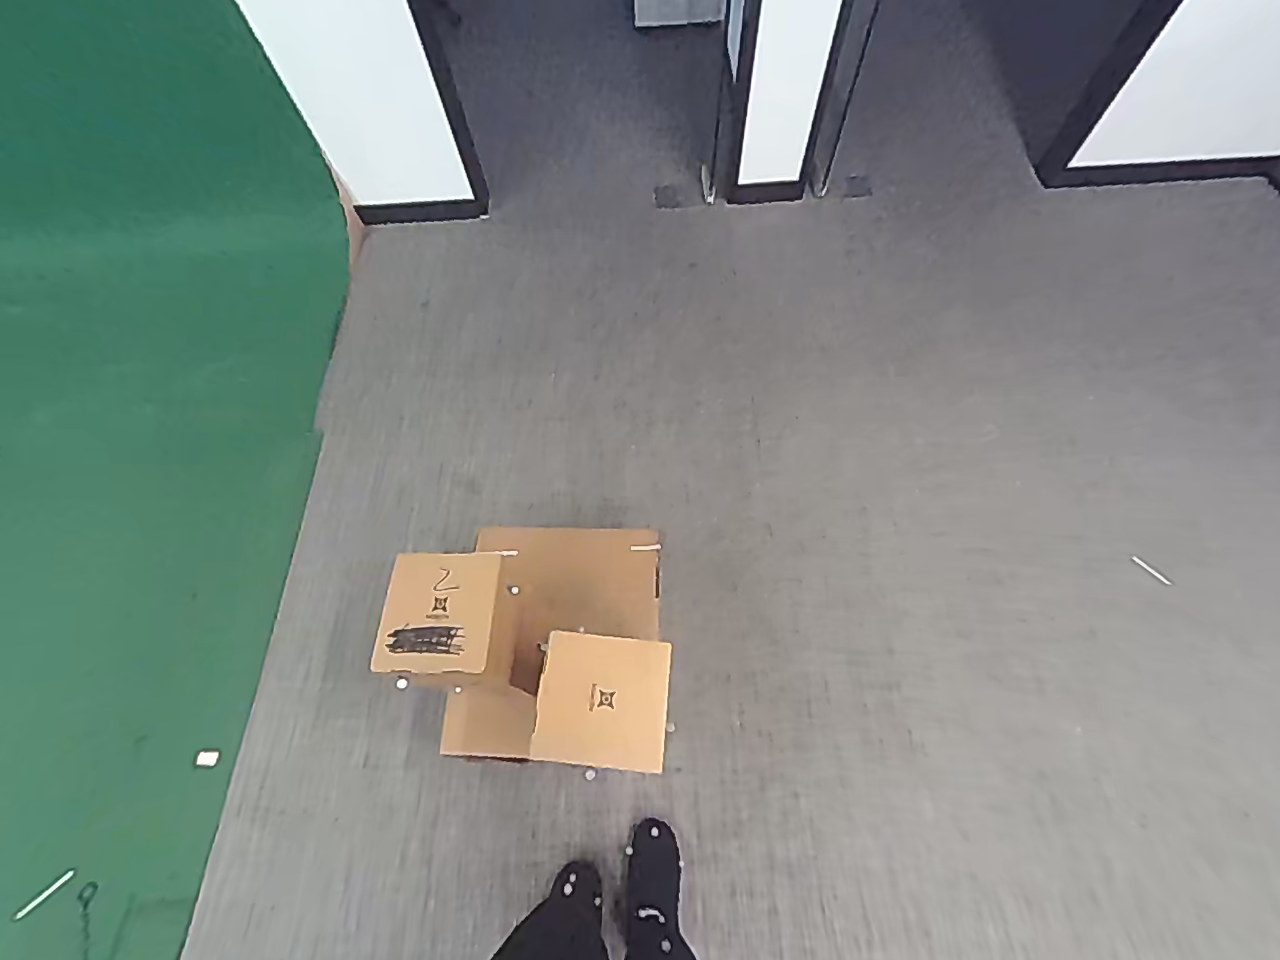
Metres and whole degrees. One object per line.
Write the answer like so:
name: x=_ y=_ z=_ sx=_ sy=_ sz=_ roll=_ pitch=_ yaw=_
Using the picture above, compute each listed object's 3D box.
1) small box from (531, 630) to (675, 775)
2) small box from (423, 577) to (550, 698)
small box: x=-0.044 y=0.326 z=0.793 sx=0.179 sy=0.176 sz=0.168 roll=5 pitch=63 yaw=4
small box: x=-0.270 y=0.295 z=1.002 sx=0.168 sy=0.176 sz=0.179 roll=3 pitch=62 yaw=5
